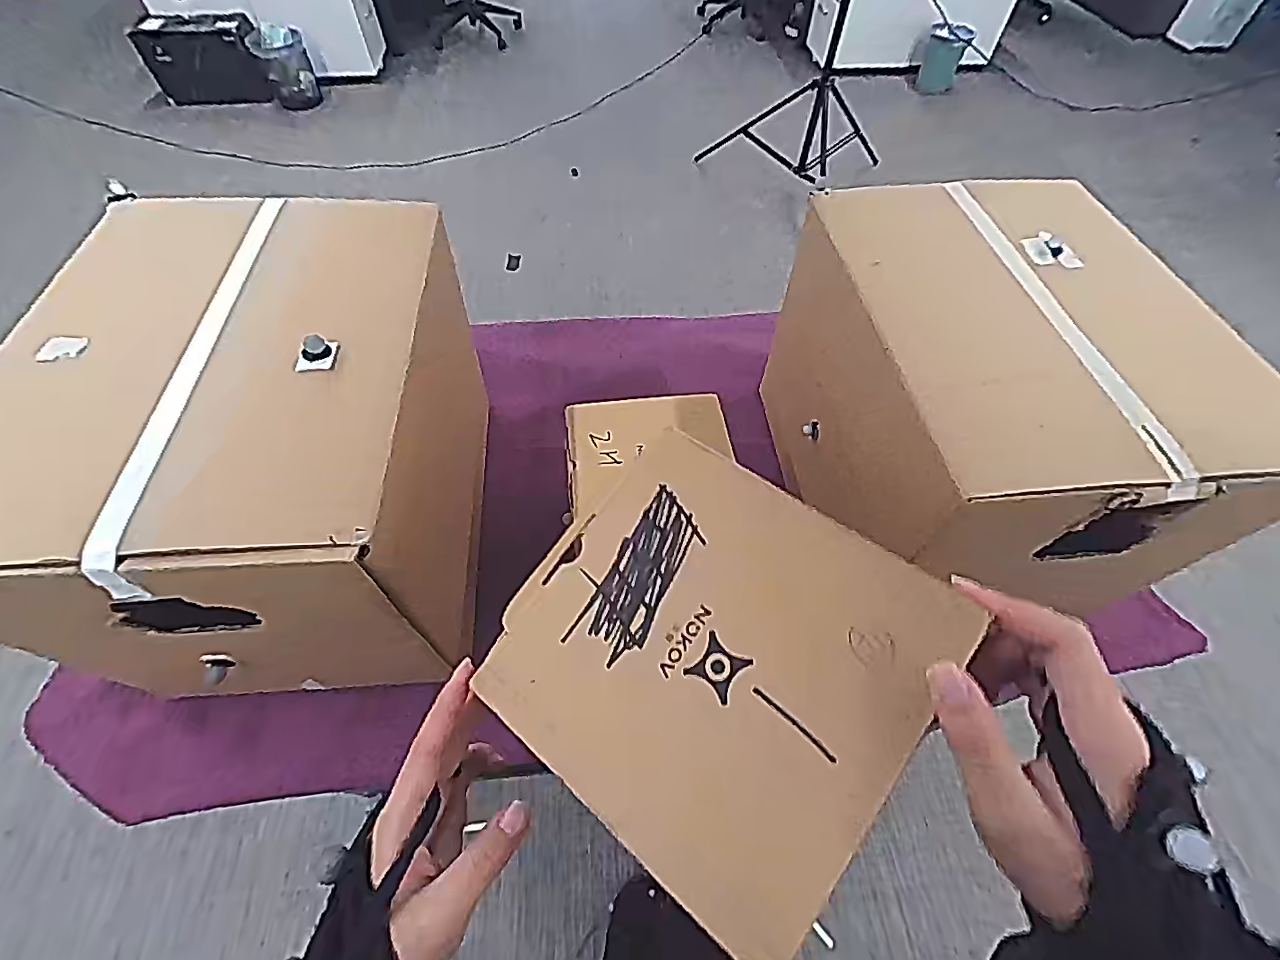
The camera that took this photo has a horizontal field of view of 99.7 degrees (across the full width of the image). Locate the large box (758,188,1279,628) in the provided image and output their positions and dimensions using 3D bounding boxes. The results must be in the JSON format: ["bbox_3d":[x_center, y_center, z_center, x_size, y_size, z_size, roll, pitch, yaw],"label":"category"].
[{"bbox_3d":[0.350,-0.069,0.609,0.320,0.320,0.408,-4,55,-4],"label":"large box"}]

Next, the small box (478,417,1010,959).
[{"bbox_3d":[0.054,0.100,0.305,0.179,0.176,0.168,32,80,26],"label":"small box"}]
